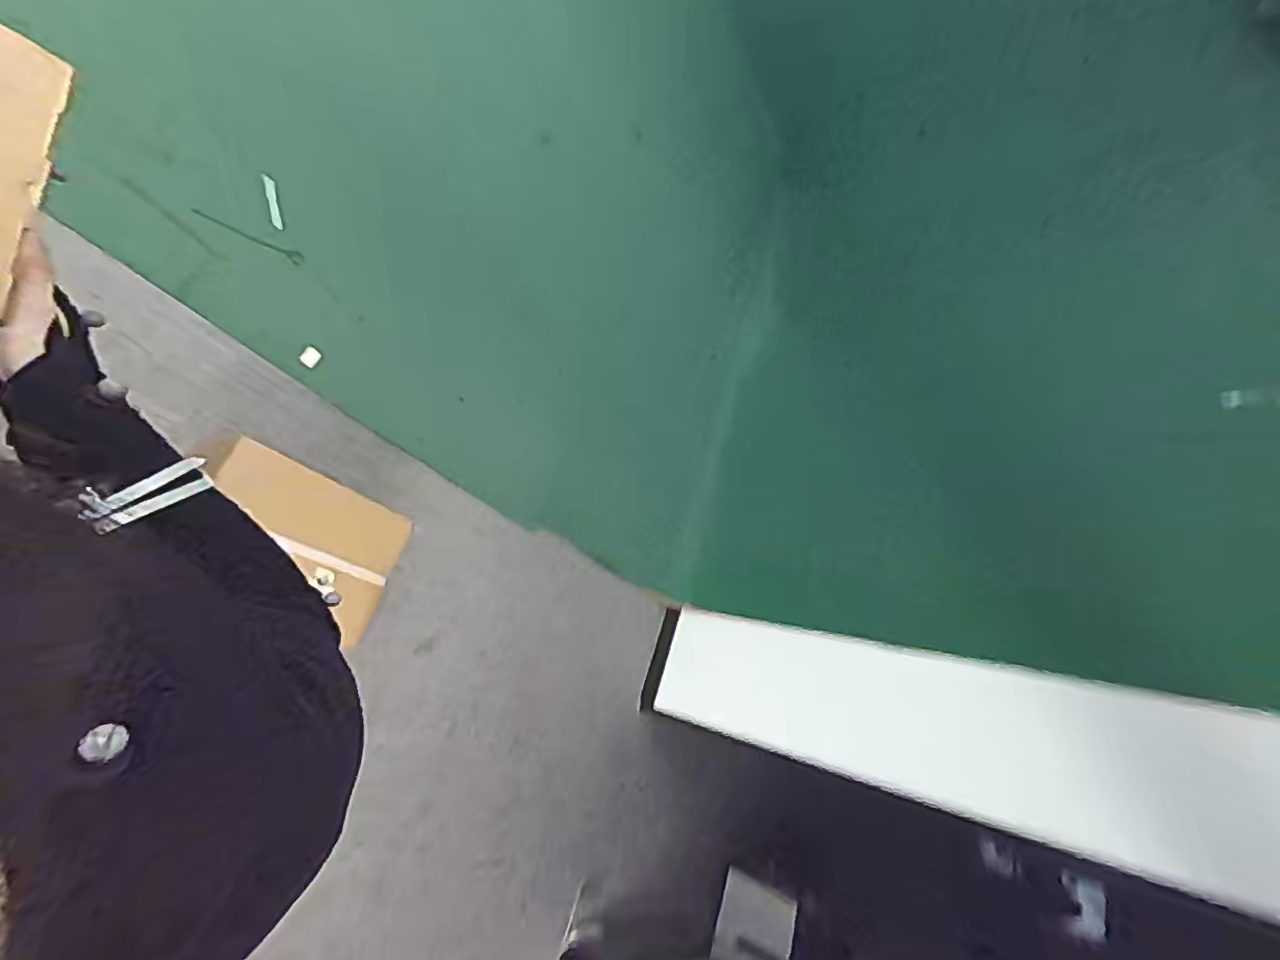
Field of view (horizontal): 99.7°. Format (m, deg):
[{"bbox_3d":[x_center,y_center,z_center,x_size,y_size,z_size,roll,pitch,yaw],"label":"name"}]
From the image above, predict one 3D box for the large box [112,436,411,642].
[{"bbox_3d":[-0.828,0.138,1.218,0.408,0.320,0.320,43,58,-44],"label":"large box"}]
